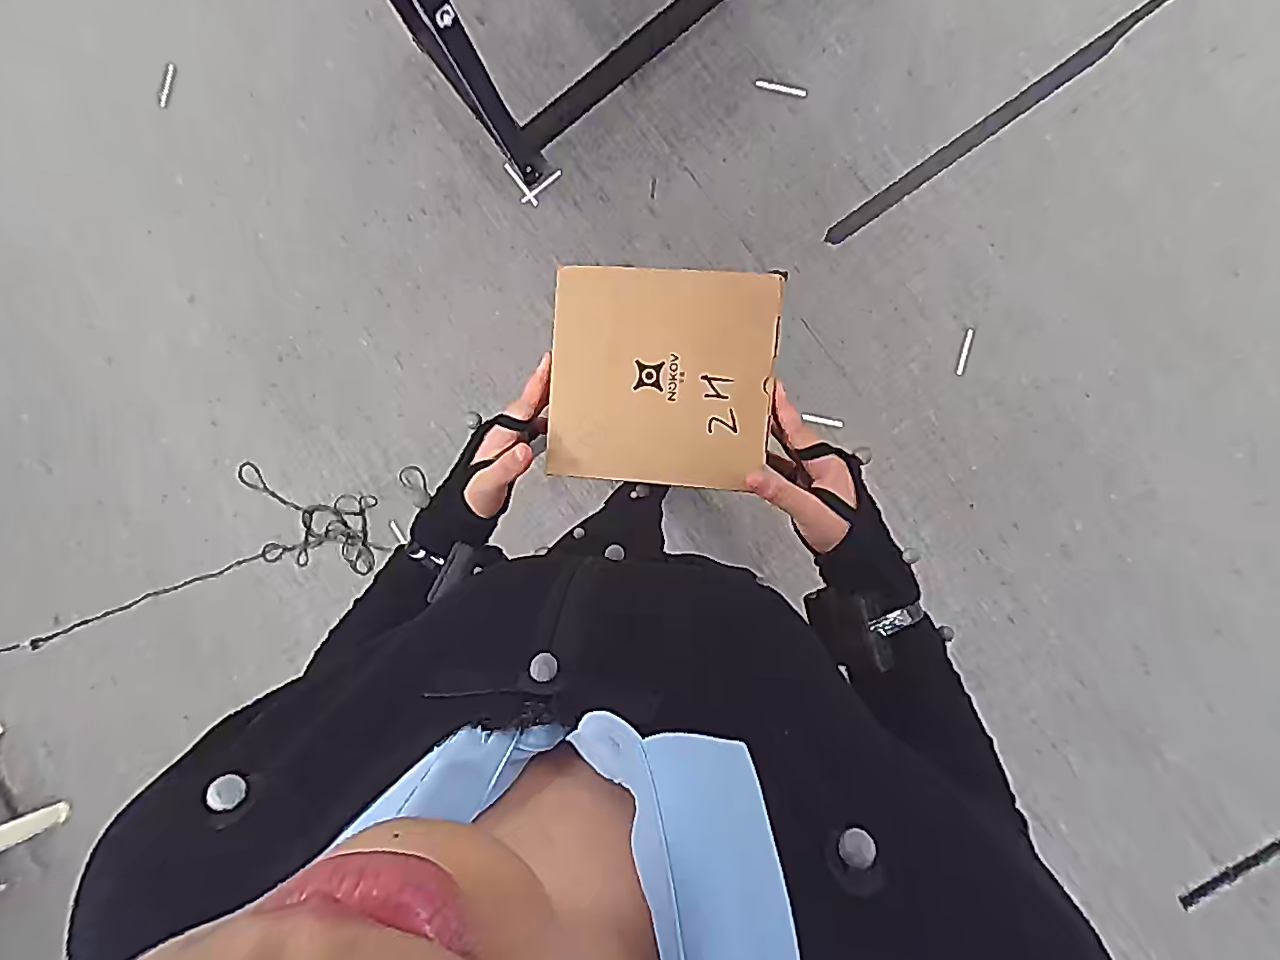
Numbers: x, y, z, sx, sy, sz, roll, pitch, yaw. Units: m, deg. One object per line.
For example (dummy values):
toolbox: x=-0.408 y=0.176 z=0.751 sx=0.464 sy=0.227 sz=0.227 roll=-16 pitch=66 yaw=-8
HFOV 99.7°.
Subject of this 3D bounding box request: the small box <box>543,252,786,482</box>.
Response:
small box: x=0.024 y=-0.094 z=0.493 sx=0.179 sy=0.176 sz=0.168 roll=5 pitch=96 yaw=5
